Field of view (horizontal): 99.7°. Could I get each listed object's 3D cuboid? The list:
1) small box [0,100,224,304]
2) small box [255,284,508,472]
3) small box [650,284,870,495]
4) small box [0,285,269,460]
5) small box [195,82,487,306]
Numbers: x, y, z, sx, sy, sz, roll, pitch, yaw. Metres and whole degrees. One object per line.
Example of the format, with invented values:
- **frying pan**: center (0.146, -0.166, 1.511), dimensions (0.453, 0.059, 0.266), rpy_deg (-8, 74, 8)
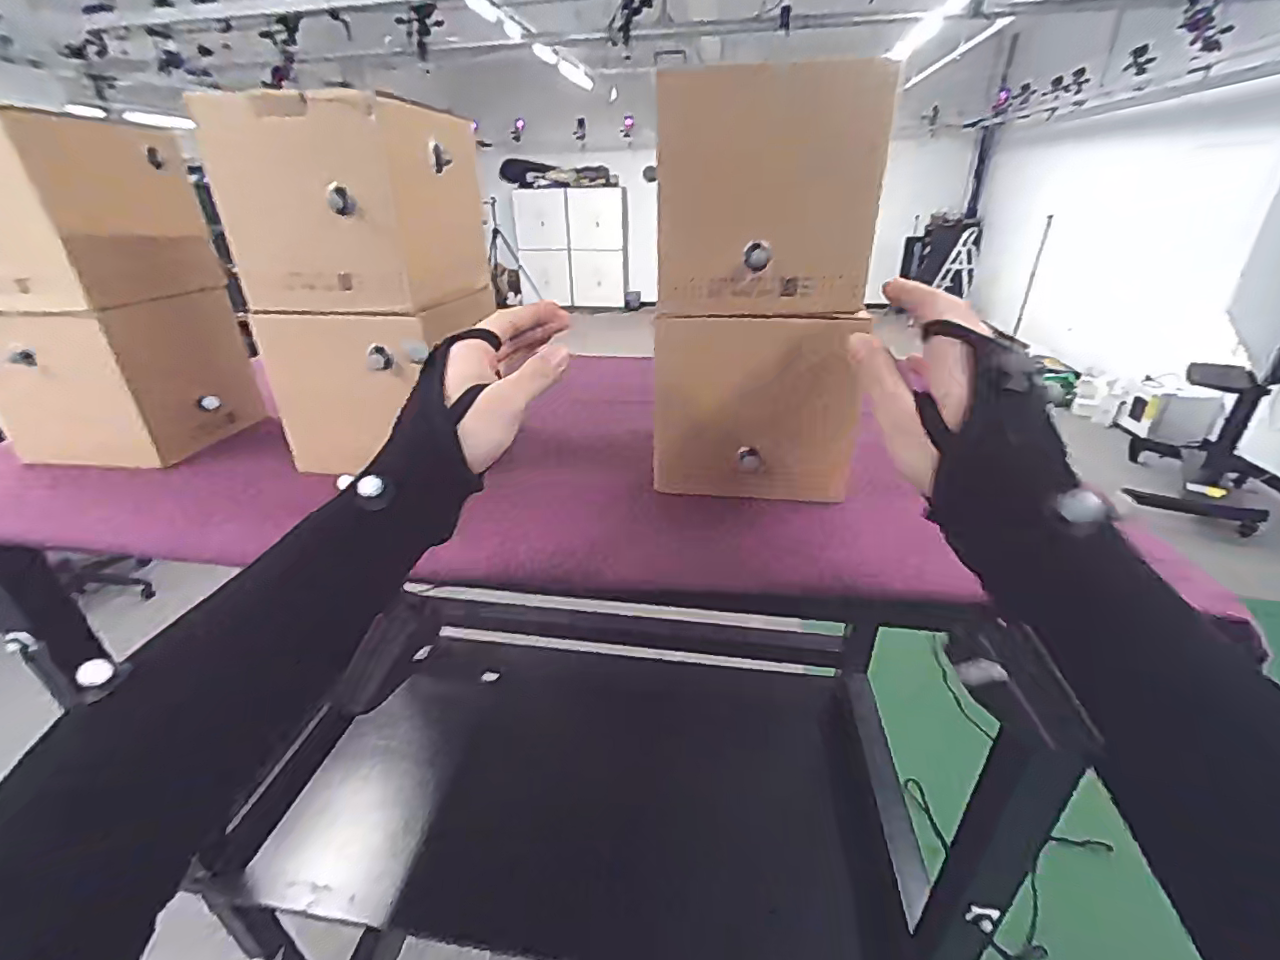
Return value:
- **small box**: center (-0.591, -0.277, 0.563), dimensions (0.168, 0.176, 0.179), rpy_deg (1, 27, 5)
- **small box**: center (-0.260, -0.117, 0.595), dimensions (0.179, 0.176, 0.168), rpy_deg (3, 27, 9)
- **small box**: center (0.108, -0.096, 0.539), dimensions (0.179, 0.176, 0.168), rpy_deg (3, 25, 8)
- **small box**: center (-0.590, -0.131, 0.633), dimensions (0.179, 0.176, 0.168), rpy_deg (3, 28, 5)
- **small box**: center (-0.263, -0.267, 0.529), dimensions (0.168, 0.176, 0.179), rpy_deg (4, 27, 8)
